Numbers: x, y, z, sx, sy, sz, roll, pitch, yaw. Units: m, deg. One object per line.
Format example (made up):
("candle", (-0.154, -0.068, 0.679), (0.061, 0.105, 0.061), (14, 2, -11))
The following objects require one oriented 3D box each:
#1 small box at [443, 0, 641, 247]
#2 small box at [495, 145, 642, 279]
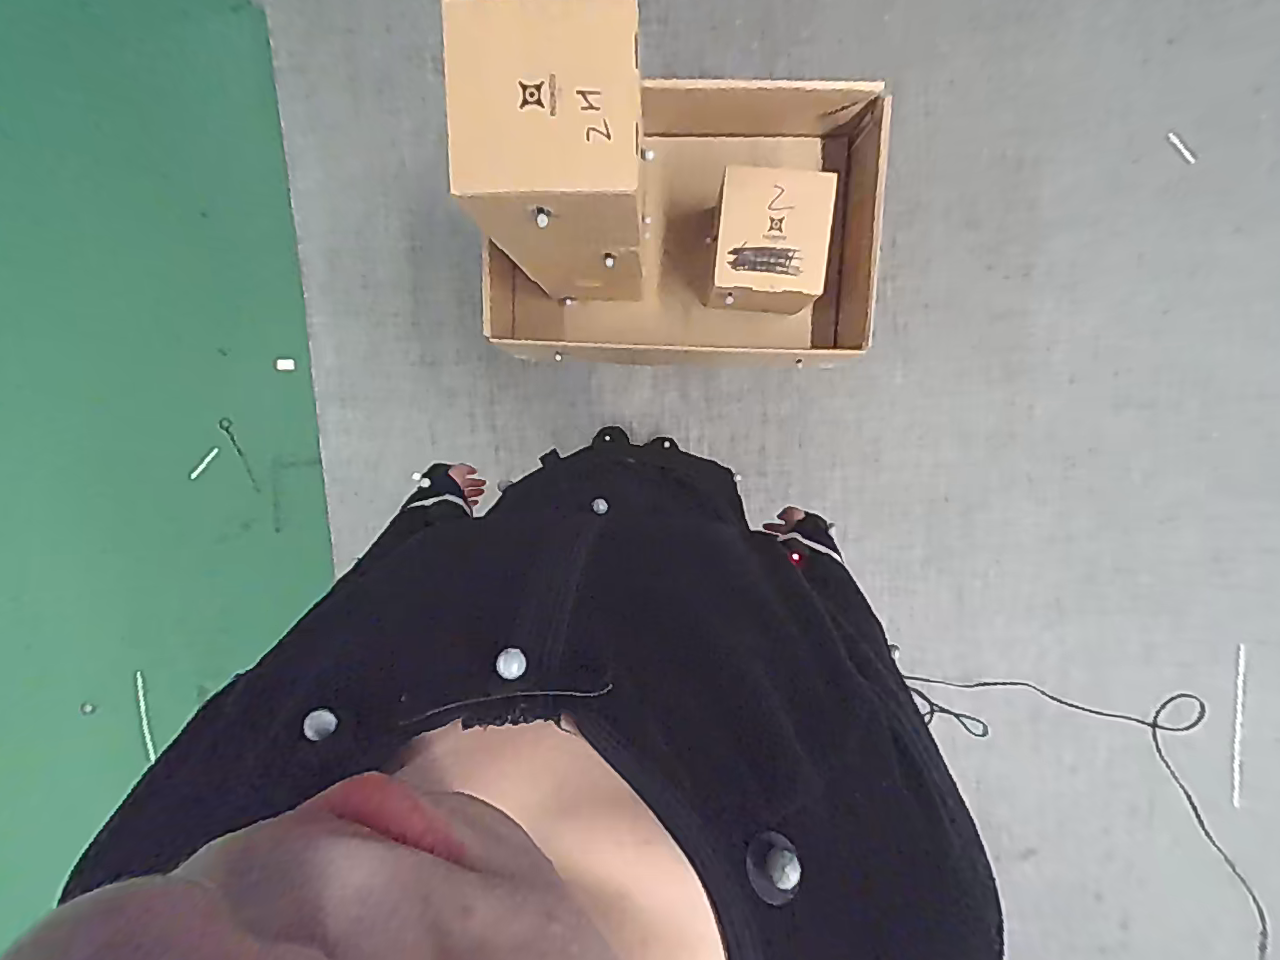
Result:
("small box", (-0.088, -0.353, 0.566), (0.179, 0.176, 0.168), (0, 98, 0))
("small box", (-0.087, -0.376, 0.729), (0.179, 0.176, 0.168), (1, 97, 0))
